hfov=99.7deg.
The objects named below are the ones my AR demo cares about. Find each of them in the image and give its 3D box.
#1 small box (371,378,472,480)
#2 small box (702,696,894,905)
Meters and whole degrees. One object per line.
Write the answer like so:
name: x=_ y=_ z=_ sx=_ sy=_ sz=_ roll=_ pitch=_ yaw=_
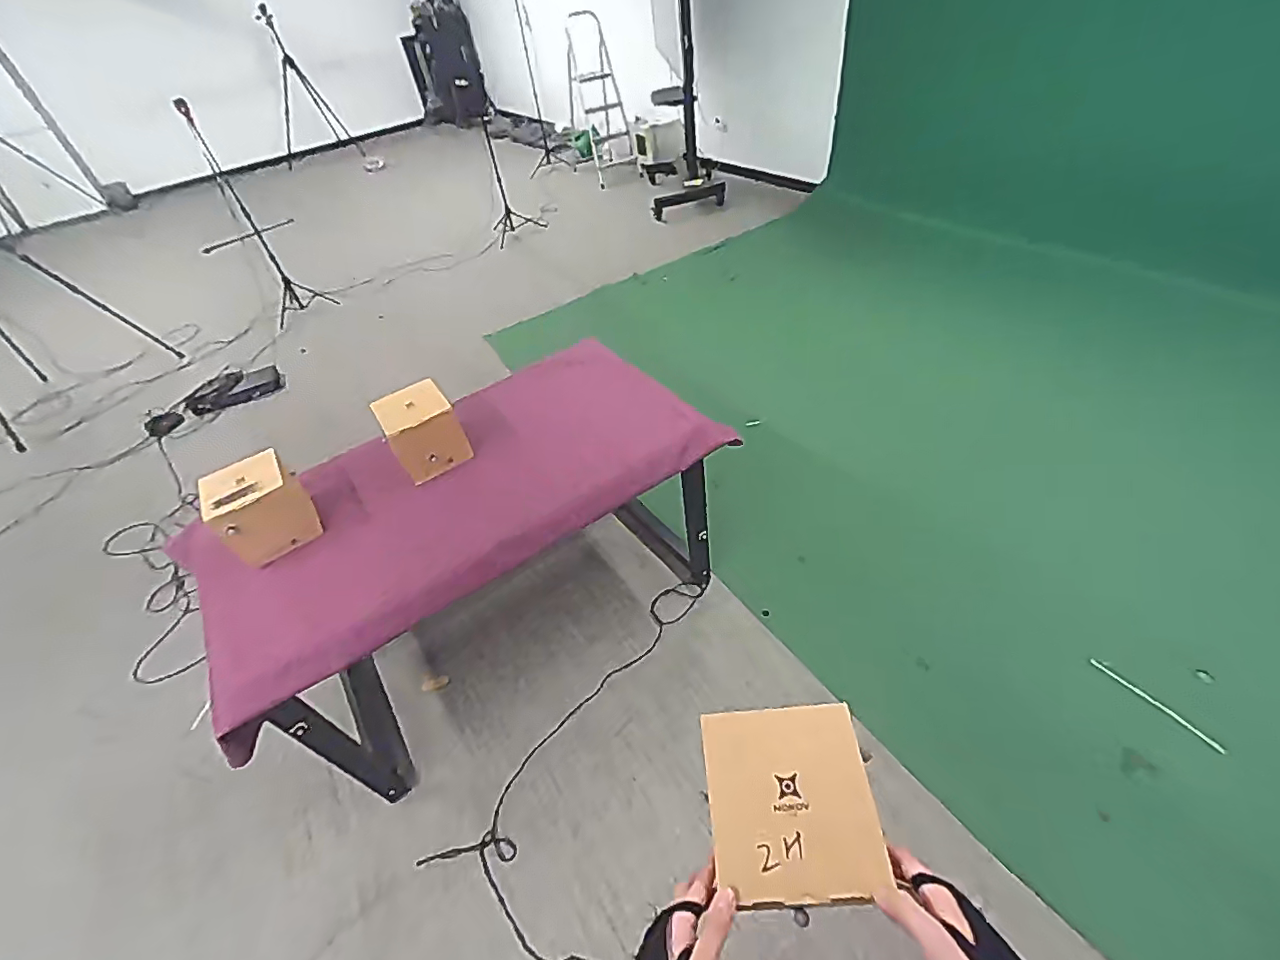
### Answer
small box: x=-0.561 y=-0.131 z=1.400 sx=0.168 sy=0.176 sz=0.179 roll=-30 pitch=49 yaw=-20
small box: x=0.163 y=0.366 z=0.615 sx=0.168 sy=0.176 sz=0.179 roll=-7 pitch=50 yaw=6
